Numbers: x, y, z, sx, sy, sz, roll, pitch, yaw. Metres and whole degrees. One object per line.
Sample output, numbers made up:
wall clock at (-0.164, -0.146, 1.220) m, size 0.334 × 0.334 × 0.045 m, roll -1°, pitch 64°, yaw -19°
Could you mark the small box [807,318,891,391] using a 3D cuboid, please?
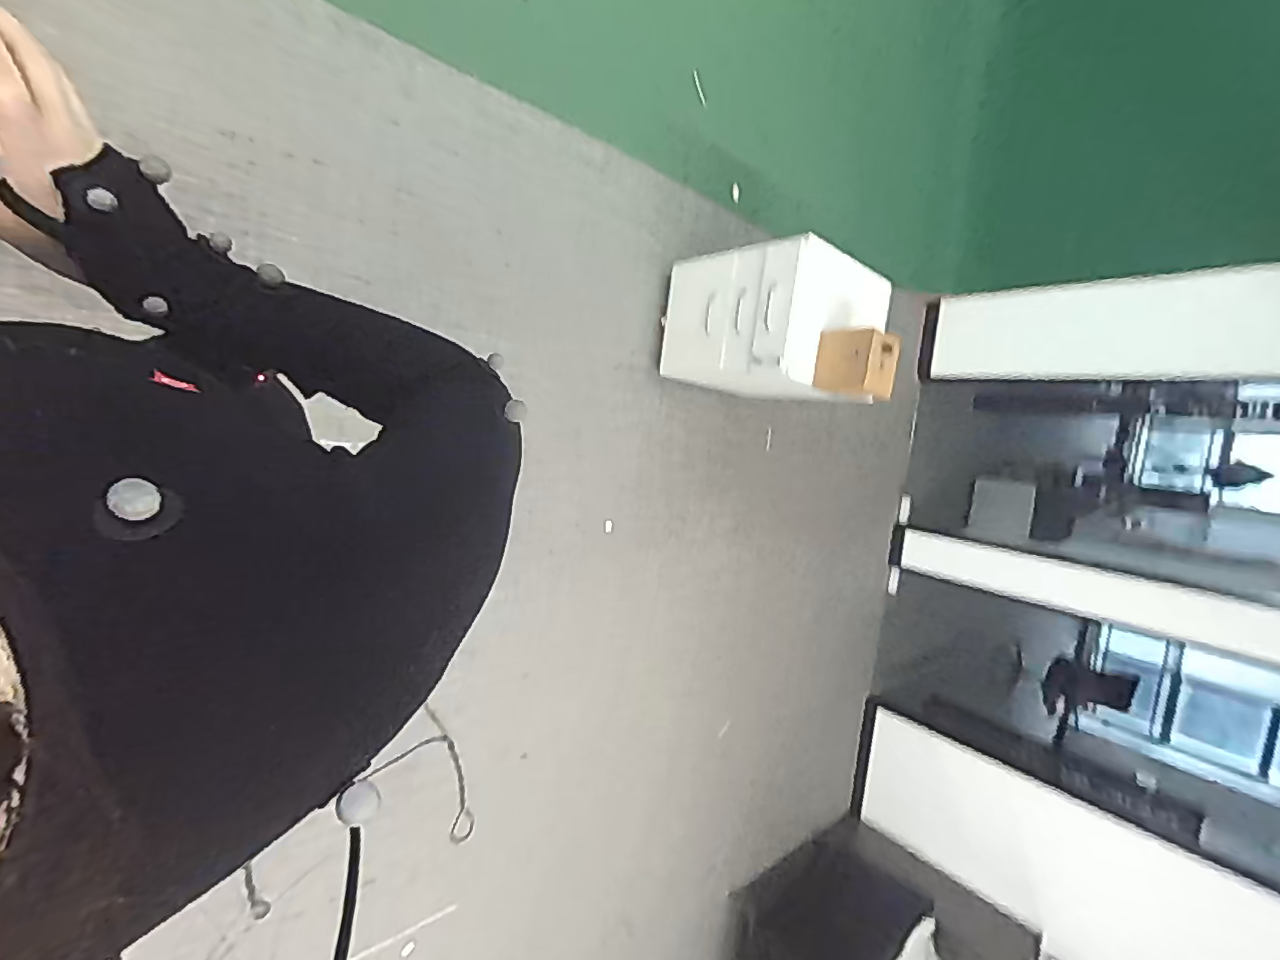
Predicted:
small box at (0.620, -0.369, 1.612) m, size 0.168 × 0.176 × 0.179 m, roll 6°, pitch 95°, yaw -42°
